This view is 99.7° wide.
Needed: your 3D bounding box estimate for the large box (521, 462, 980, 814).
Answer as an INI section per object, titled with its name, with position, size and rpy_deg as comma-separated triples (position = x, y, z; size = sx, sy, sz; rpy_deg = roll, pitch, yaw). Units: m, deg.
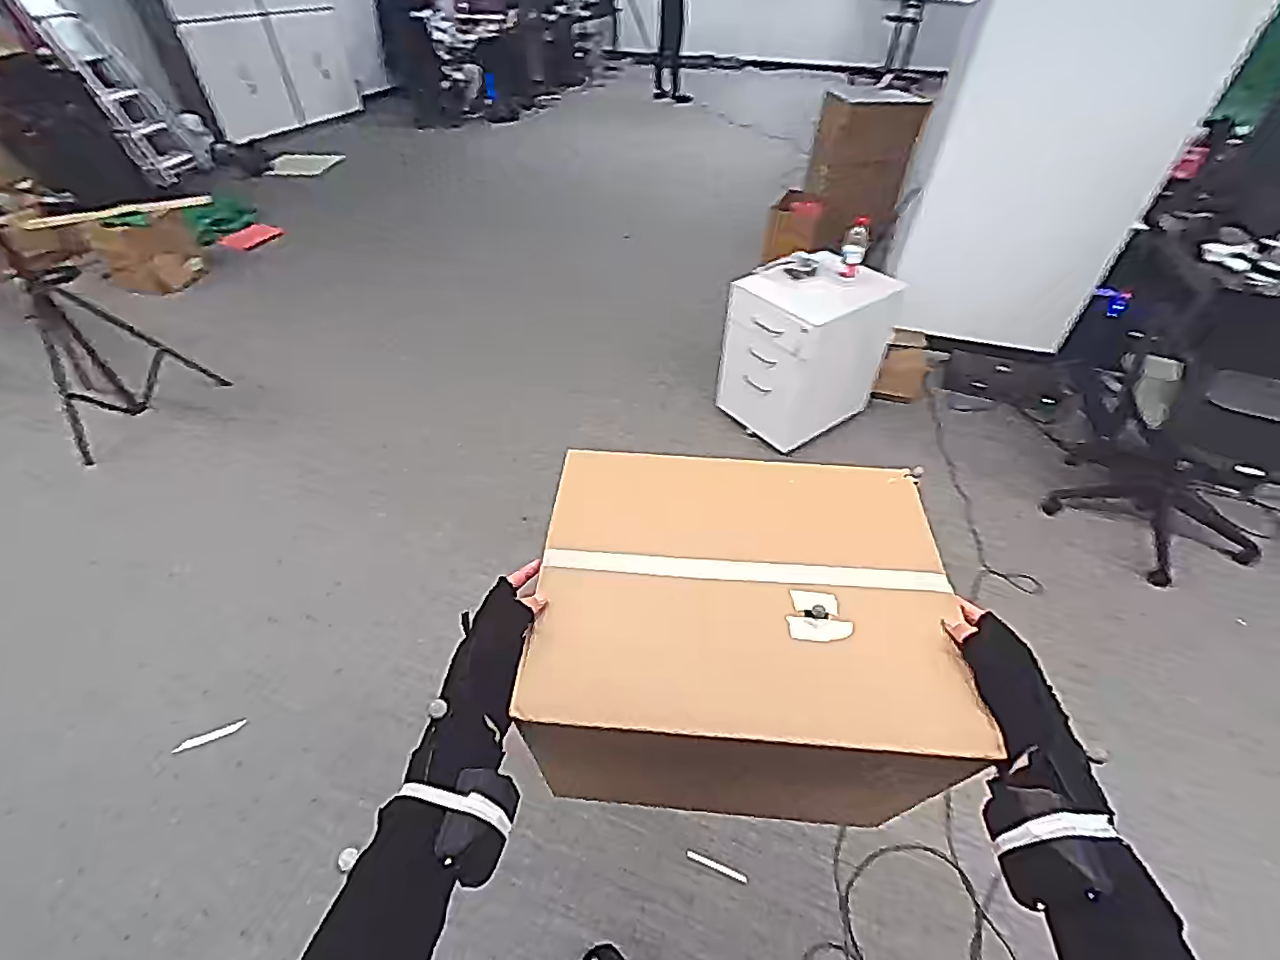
[large box]
position = 0.097, 0.199, 0.670
size = 0.408, 0.320, 0.320
rpy_deg = 3, 50, 2
